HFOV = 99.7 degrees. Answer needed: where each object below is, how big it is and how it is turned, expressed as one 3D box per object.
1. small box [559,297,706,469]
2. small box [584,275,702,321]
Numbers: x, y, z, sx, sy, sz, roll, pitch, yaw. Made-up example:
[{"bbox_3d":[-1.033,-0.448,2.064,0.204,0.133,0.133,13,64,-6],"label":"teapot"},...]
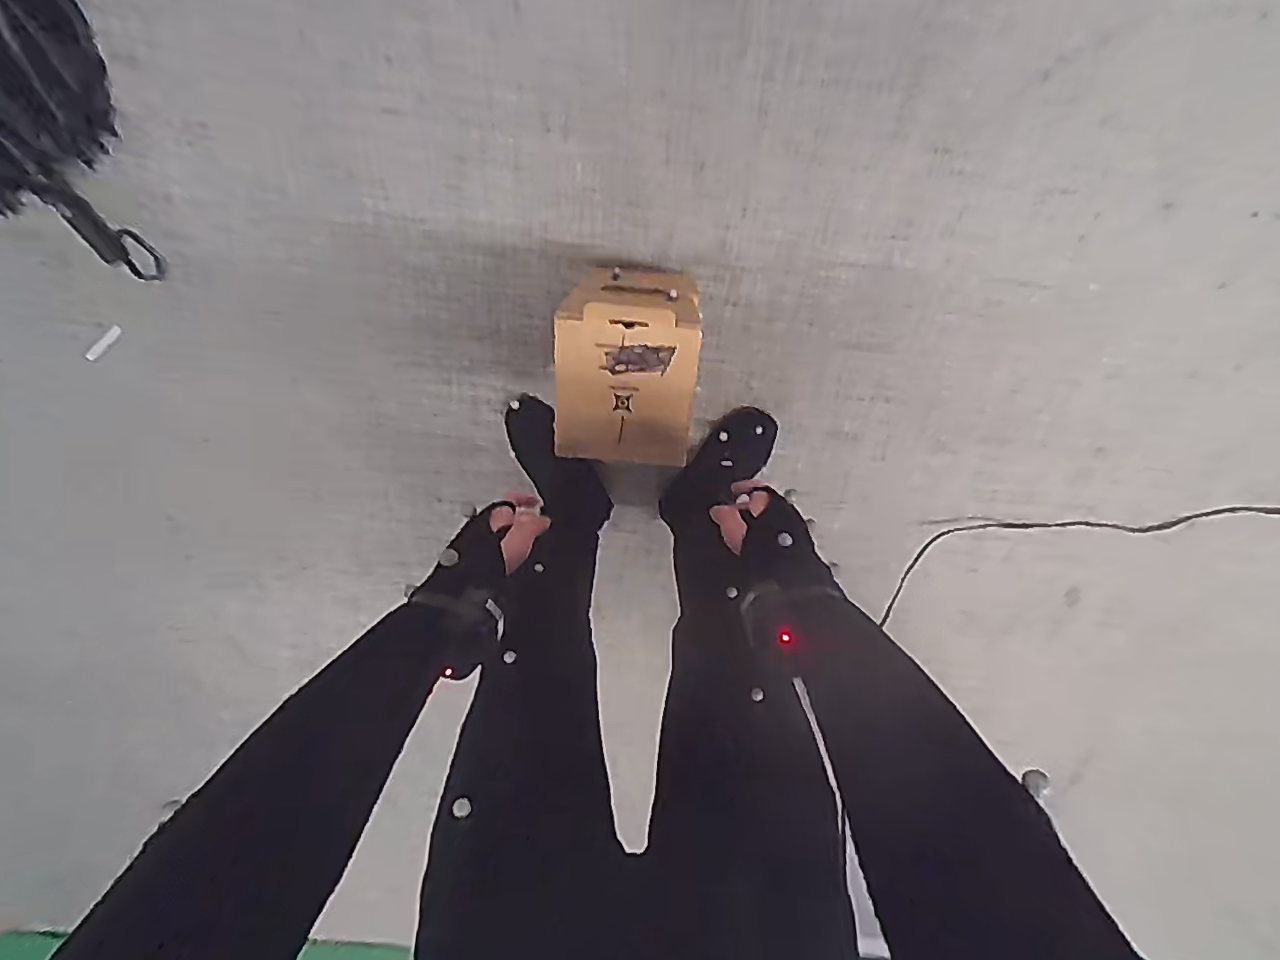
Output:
[{"bbox_3d":[-0.012,-0.134,0.707,0.168,0.176,0.179,5,120,0],"label":"small box"},{"bbox_3d":[0.001,-0.218,0.849,0.168,0.176,0.179,4,120,1],"label":"small box"}]
